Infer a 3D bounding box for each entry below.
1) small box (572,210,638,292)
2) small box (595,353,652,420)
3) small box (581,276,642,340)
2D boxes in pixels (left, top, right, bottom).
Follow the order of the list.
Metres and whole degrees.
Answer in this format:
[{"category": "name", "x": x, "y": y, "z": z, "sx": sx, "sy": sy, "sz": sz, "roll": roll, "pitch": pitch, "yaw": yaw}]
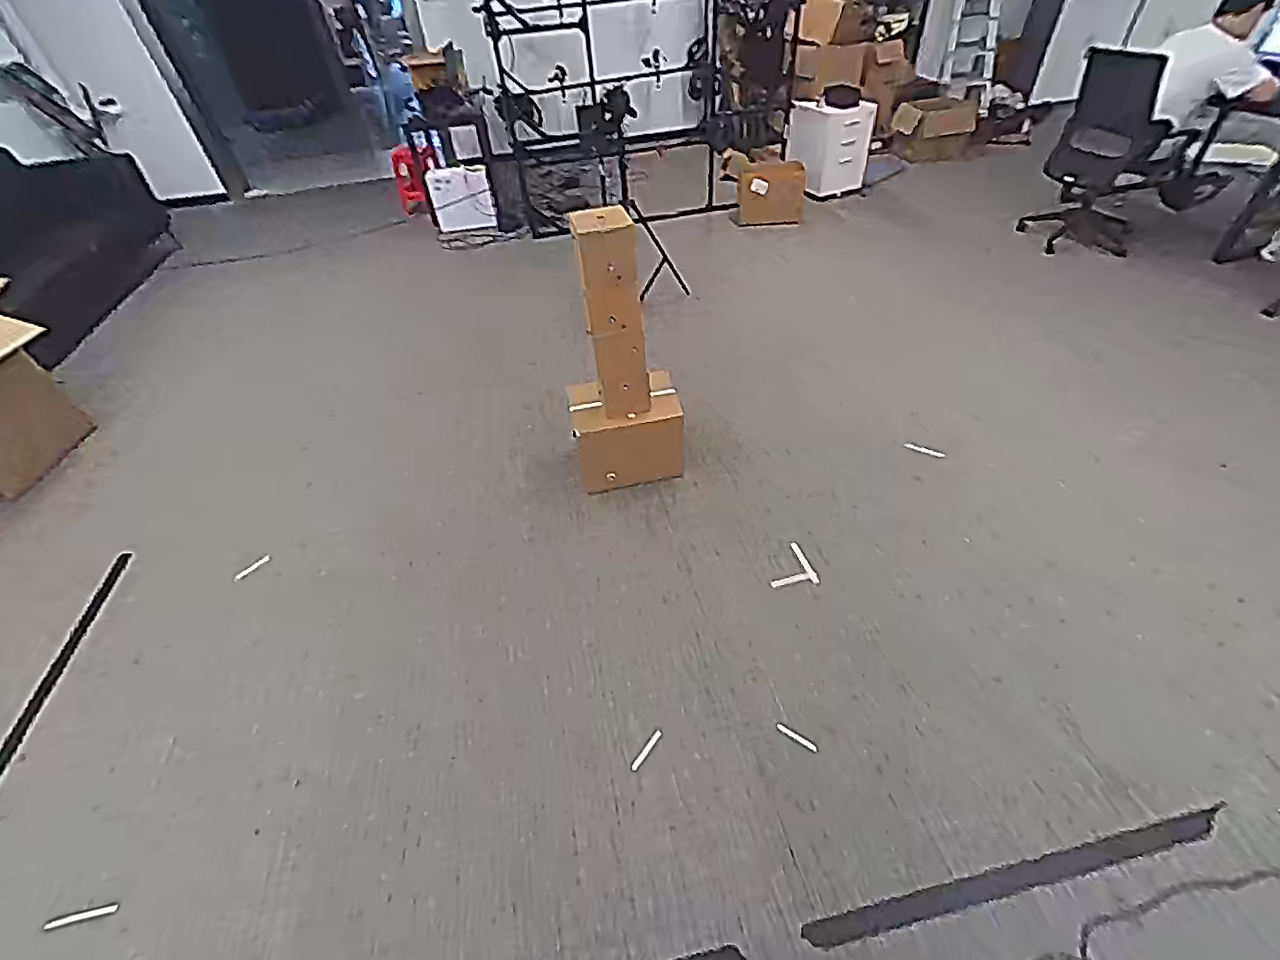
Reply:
[{"category": "small box", "x": -0.106, "y": -0.697, "z": 1.646, "sx": 0.168, "sy": 0.176, "sz": 0.179, "roll": -13, "pitch": 46, "yaw": -7}, {"category": "small box", "x": -0.059, "y": -0.340, "z": 1.980, "sx": 0.179, "sy": 0.176, "sz": 0.168, "roll": -12, "pitch": 45, "yaw": -7}, {"category": "small box", "x": -0.093, "y": -0.578, "z": 1.759, "sx": 0.168, "sy": 0.176, "sz": 0.179, "roll": -12, "pitch": 46, "yaw": -7}]
